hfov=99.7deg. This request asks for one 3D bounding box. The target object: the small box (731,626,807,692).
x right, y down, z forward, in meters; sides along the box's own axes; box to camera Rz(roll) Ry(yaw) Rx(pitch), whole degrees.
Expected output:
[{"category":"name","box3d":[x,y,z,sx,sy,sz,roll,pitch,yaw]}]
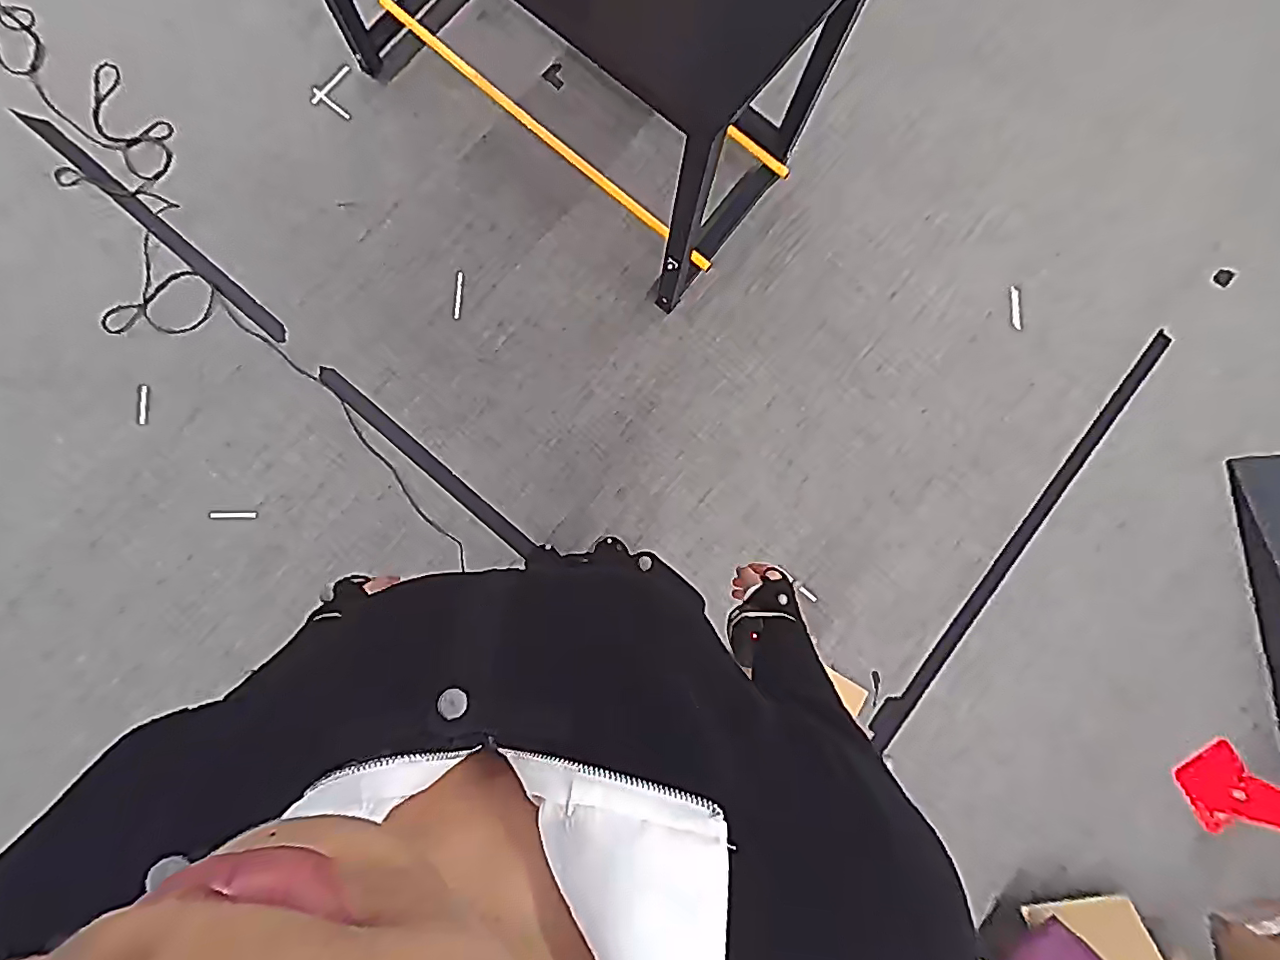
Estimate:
[{"category":"small box","box3d":[0.365,0.504,1.417,0.179,0.176,0.168,36,82,2]}]
